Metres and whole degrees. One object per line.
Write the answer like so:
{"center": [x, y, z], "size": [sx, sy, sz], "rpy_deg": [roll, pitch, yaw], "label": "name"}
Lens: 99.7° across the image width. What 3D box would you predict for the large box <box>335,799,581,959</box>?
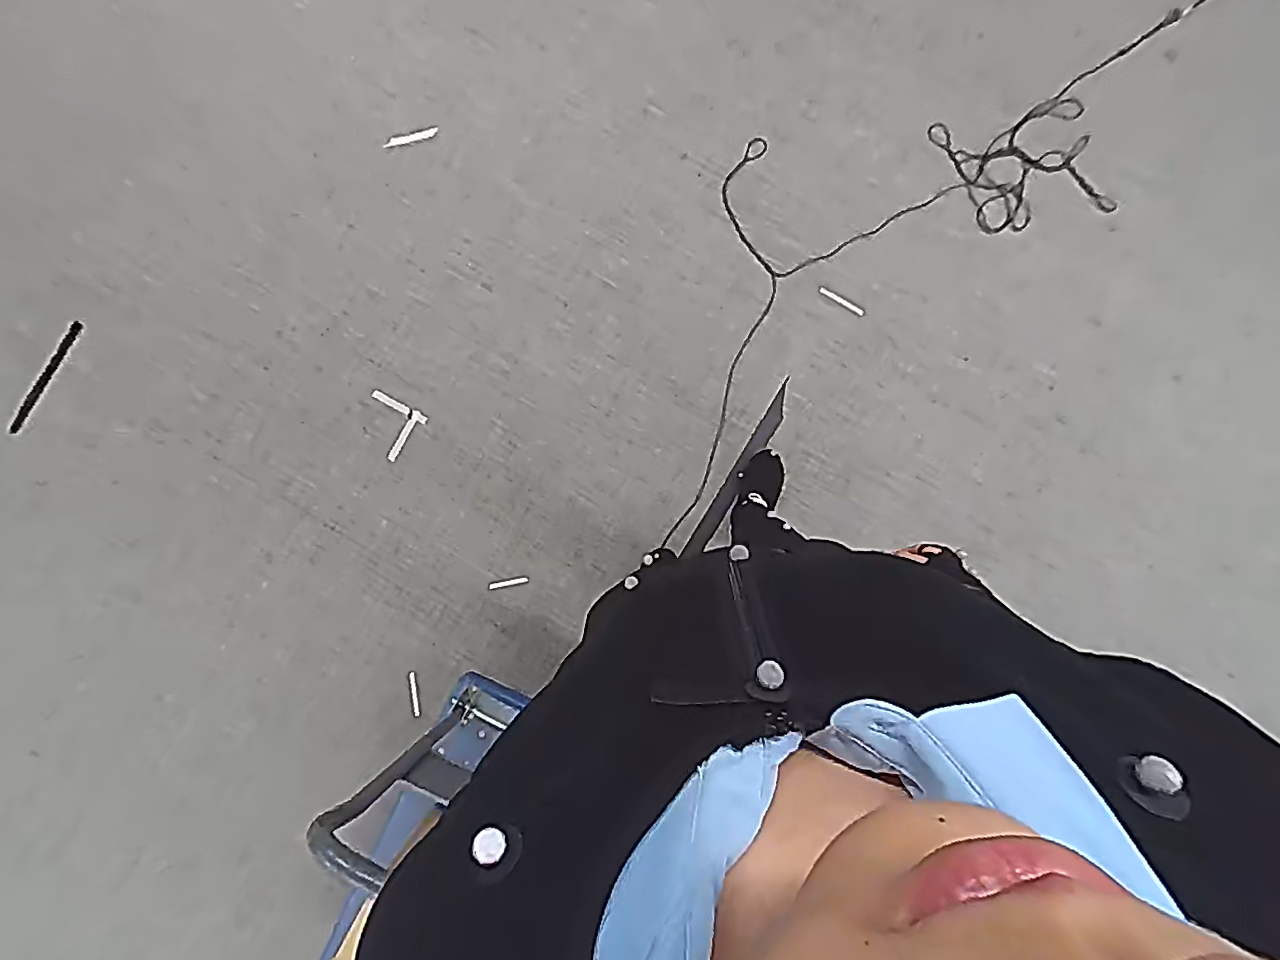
{"center": [-0.381, 0.969, 1.136], "size": [0.408, 0.320, 0.320], "rpy_deg": [27, 88, 2], "label": "large box"}
